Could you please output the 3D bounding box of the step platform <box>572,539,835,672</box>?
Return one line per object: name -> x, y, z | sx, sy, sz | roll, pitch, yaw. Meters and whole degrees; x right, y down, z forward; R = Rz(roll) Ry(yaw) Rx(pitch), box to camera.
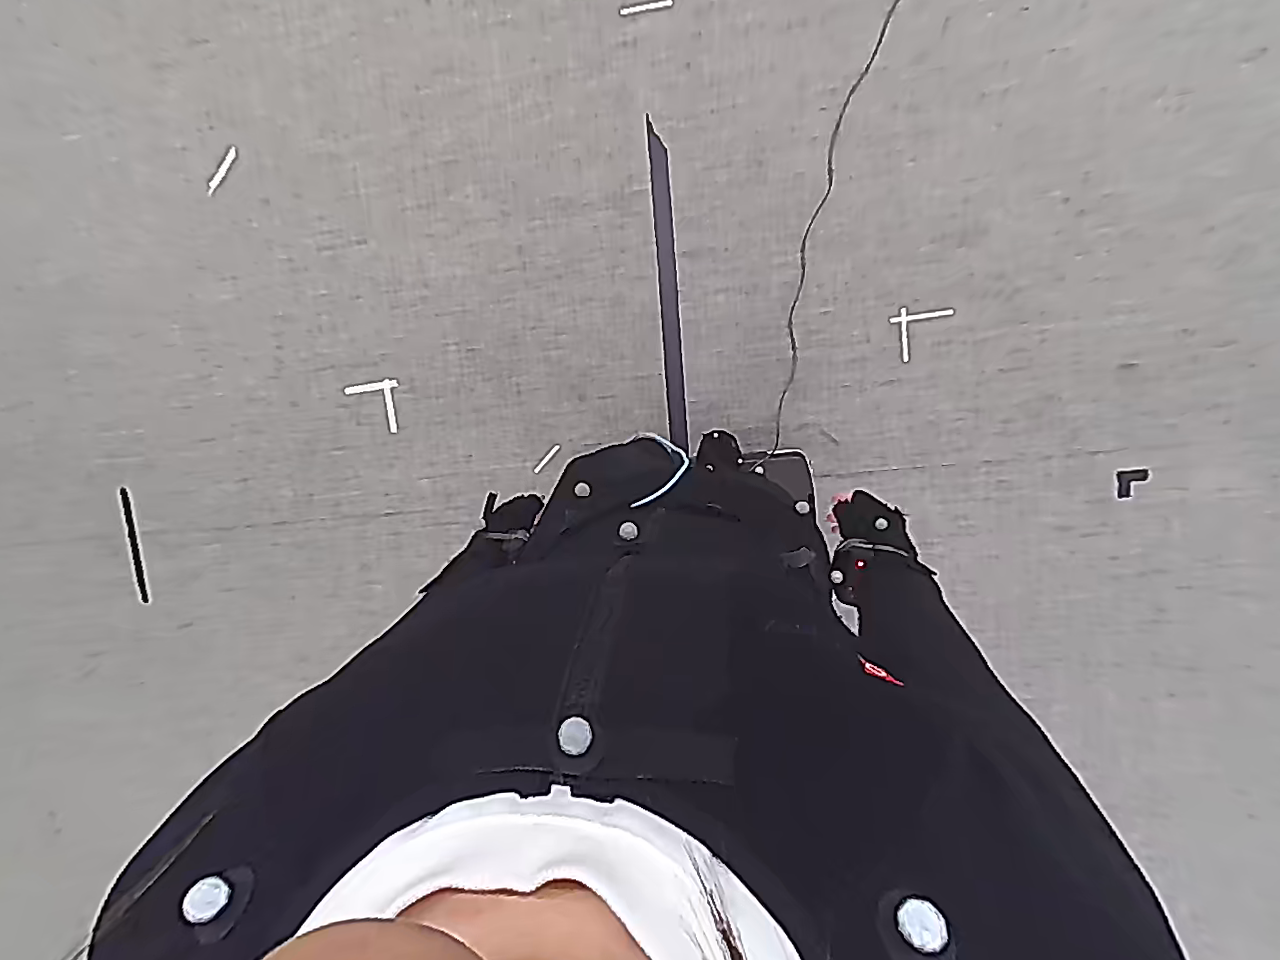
step platform -> 0.163, 0.340, 1.454 | 0.684, 0.204, 0.286 | -6, 94, 10
